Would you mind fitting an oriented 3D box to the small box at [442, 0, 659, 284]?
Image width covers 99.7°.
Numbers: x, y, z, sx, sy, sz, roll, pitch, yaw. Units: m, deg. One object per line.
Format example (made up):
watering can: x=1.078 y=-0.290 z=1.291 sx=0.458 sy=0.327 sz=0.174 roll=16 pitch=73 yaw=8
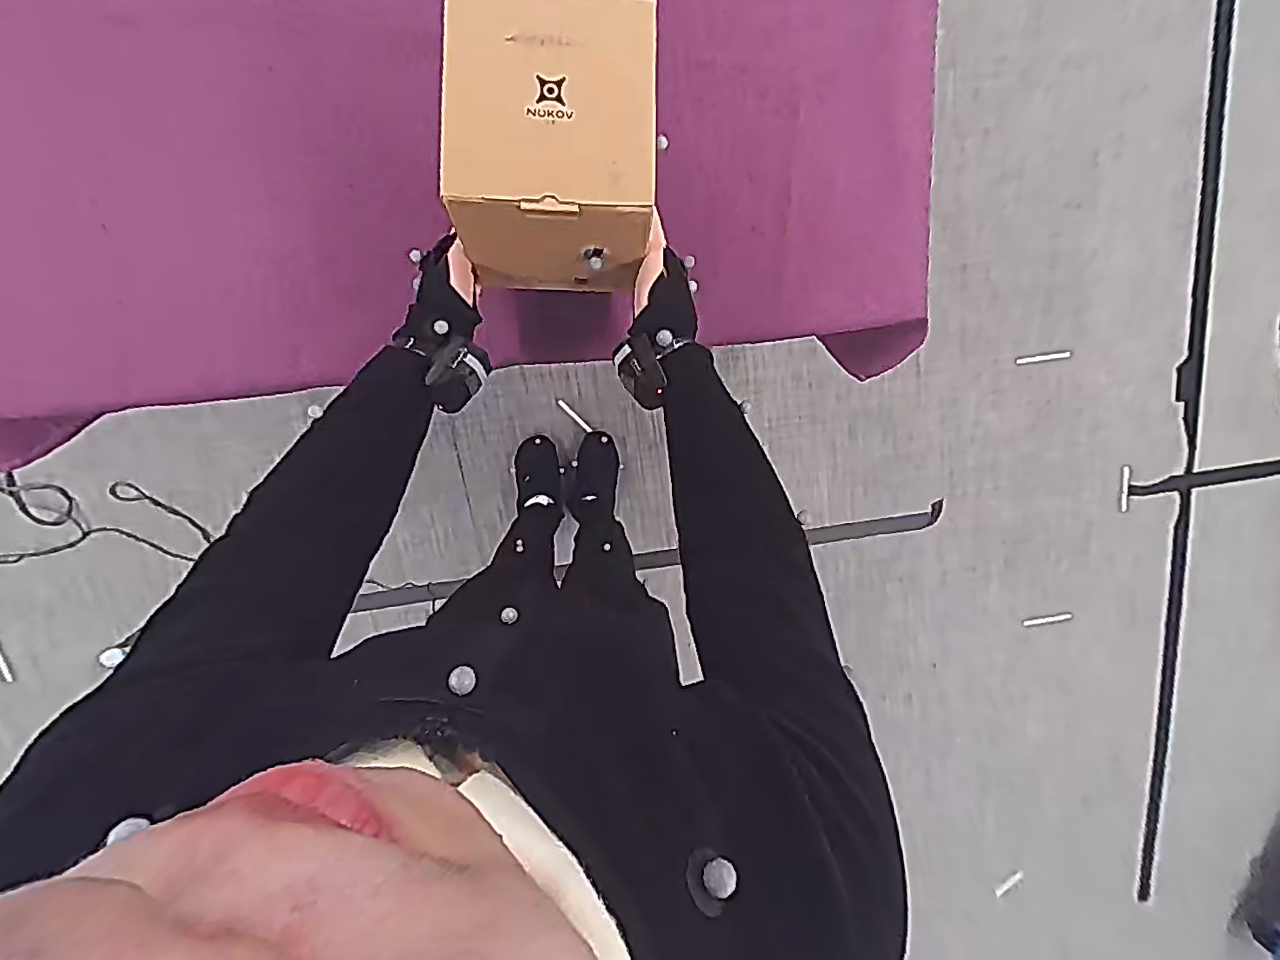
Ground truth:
small box: x=-0.074 y=-0.297 z=0.498 sx=0.168 sy=0.176 sz=0.179 roll=1 pitch=87 yaw=-5
